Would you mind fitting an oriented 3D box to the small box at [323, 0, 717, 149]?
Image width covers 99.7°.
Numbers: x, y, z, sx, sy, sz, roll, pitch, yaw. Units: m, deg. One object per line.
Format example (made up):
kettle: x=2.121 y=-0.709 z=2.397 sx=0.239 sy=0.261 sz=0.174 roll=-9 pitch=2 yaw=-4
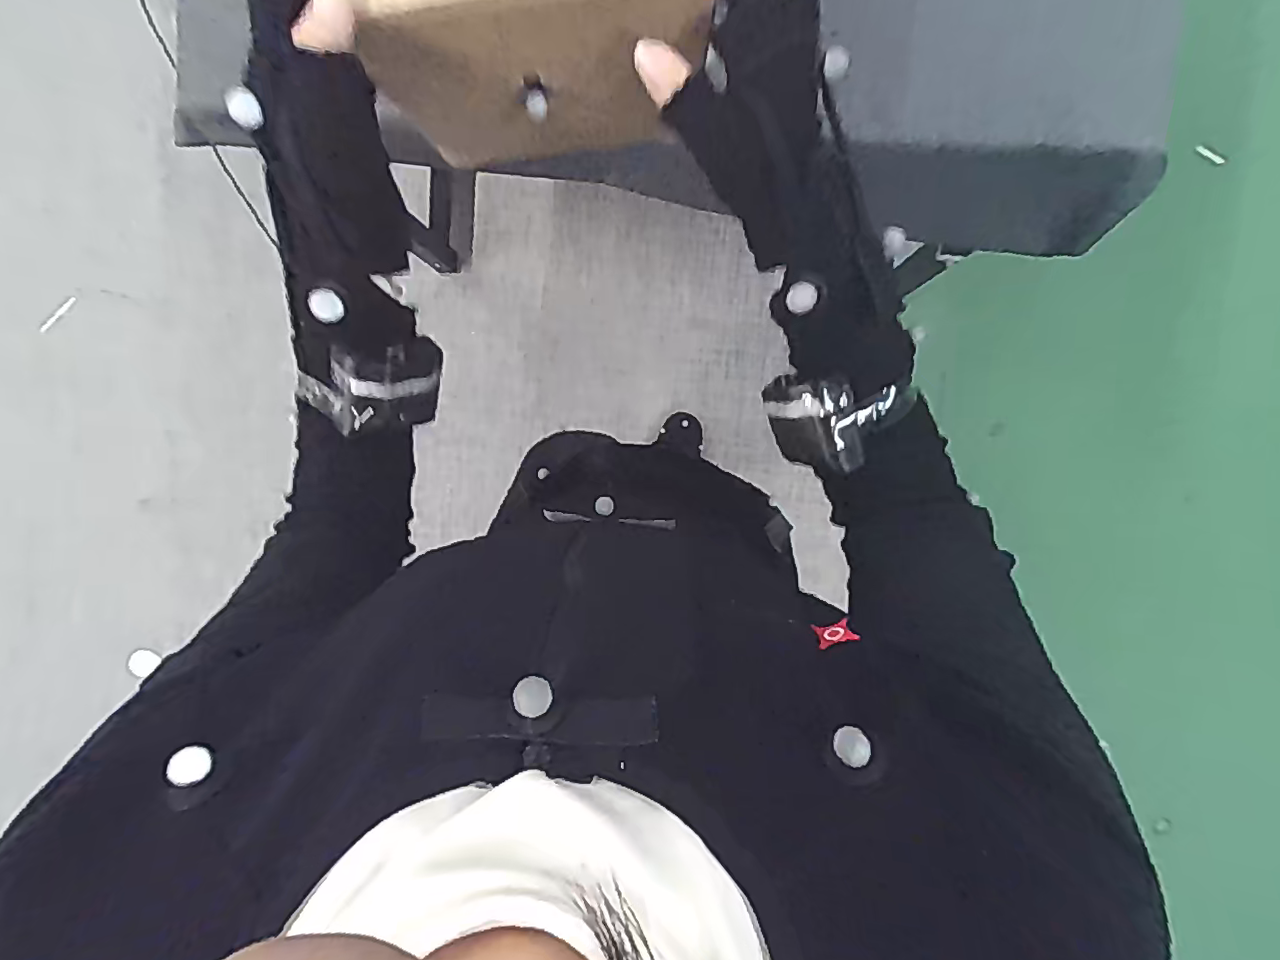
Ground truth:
small box: x=-0.059 y=-0.301 z=0.279 sx=0.179 sy=0.176 sz=0.168 roll=-10 pitch=103 yaw=2
